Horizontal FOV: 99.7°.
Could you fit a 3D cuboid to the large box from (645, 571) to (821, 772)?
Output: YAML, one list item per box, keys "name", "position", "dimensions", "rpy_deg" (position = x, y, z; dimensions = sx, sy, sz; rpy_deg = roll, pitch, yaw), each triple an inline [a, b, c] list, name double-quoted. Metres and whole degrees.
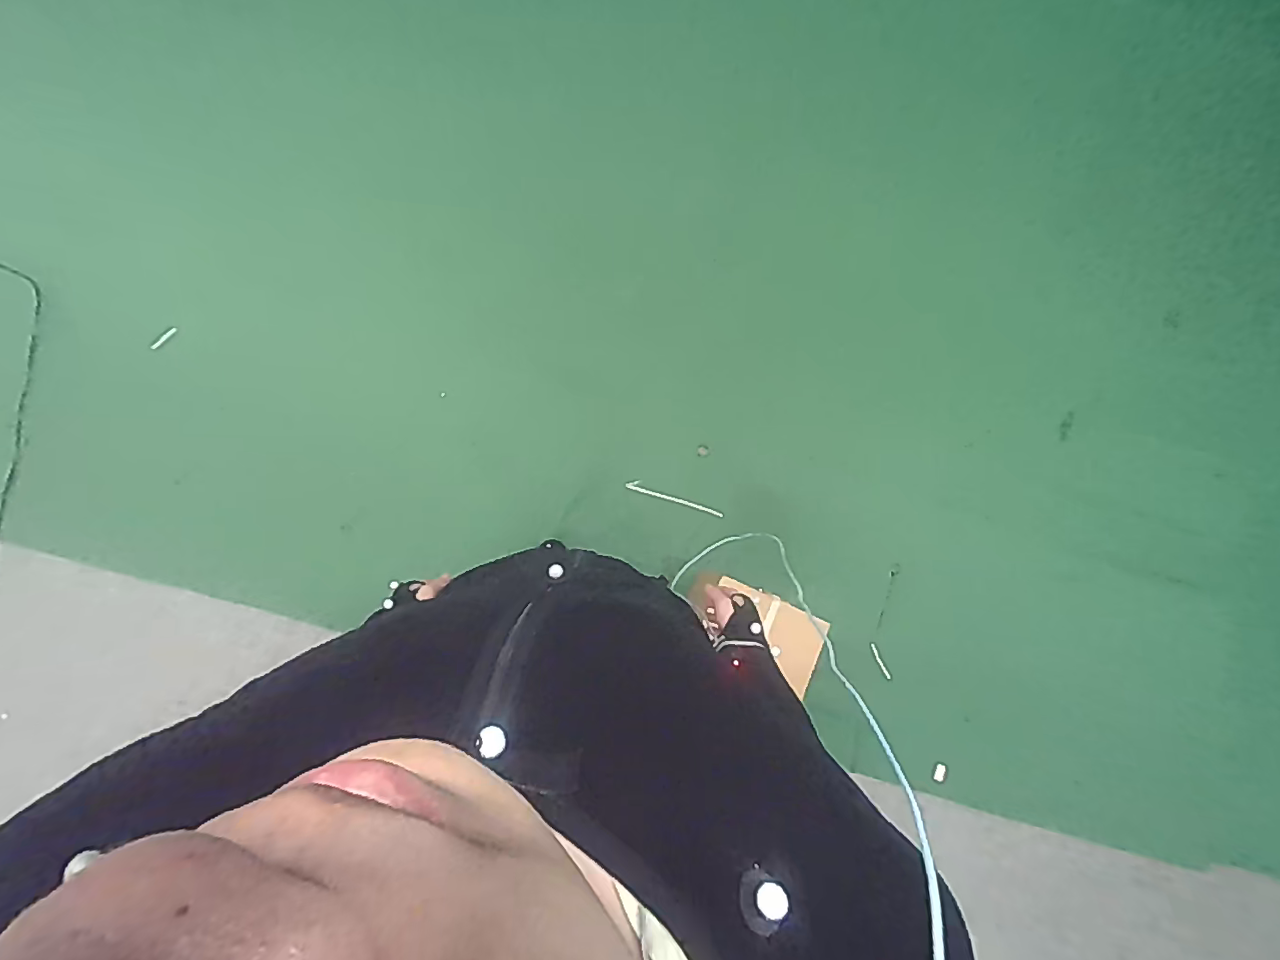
- name: "large box"
  position: [0.243, 0.504, 1.512]
  dimensions: [0.320, 0.320, 0.408]
  rpy_deg: [25, 82, -2]
